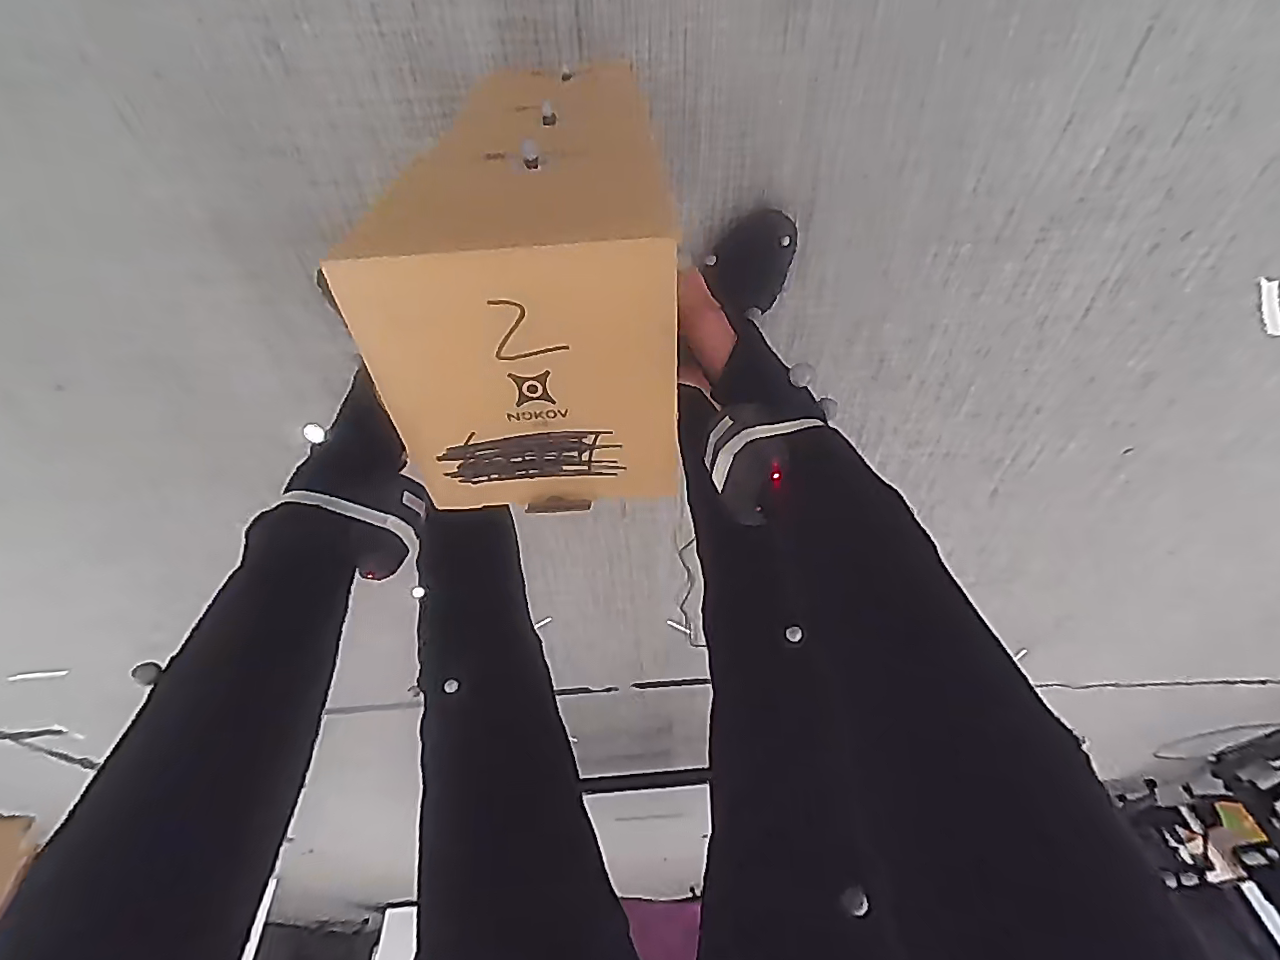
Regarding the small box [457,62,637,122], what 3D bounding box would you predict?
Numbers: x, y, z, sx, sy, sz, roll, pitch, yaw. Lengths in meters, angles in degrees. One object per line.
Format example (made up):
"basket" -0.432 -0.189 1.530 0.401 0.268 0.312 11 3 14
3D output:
"small box" -0.082 -0.334 0.599 0.168 0.176 0.179 -5 136 1
